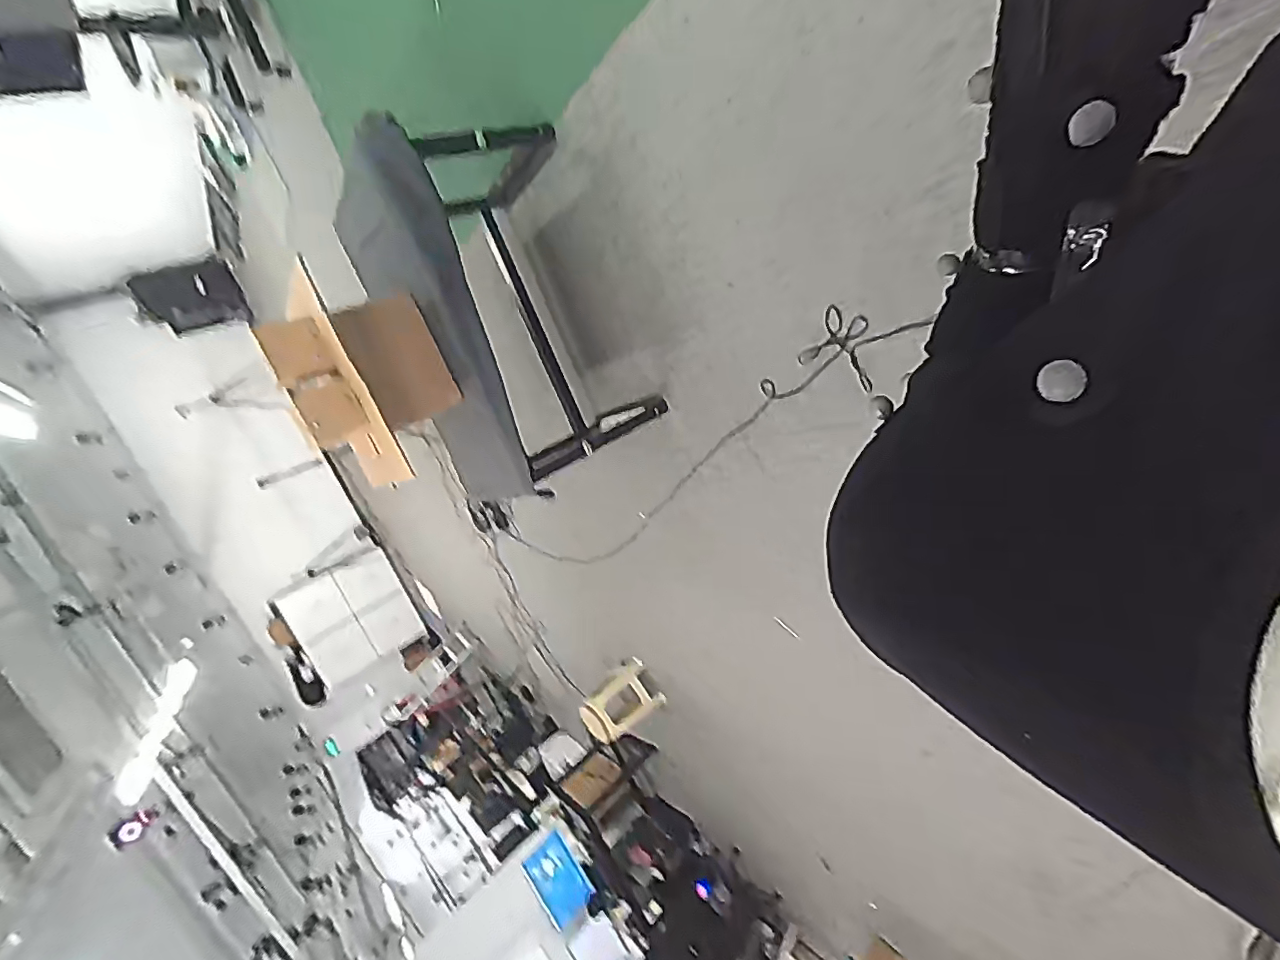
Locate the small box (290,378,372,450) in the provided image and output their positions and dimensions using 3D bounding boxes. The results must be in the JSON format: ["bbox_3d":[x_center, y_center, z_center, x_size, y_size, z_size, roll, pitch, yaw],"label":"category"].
[{"bbox_3d":[-0.988,-0.210,1.732,0.179,0.176,0.168,-6,113,54],"label":"small box"}]
